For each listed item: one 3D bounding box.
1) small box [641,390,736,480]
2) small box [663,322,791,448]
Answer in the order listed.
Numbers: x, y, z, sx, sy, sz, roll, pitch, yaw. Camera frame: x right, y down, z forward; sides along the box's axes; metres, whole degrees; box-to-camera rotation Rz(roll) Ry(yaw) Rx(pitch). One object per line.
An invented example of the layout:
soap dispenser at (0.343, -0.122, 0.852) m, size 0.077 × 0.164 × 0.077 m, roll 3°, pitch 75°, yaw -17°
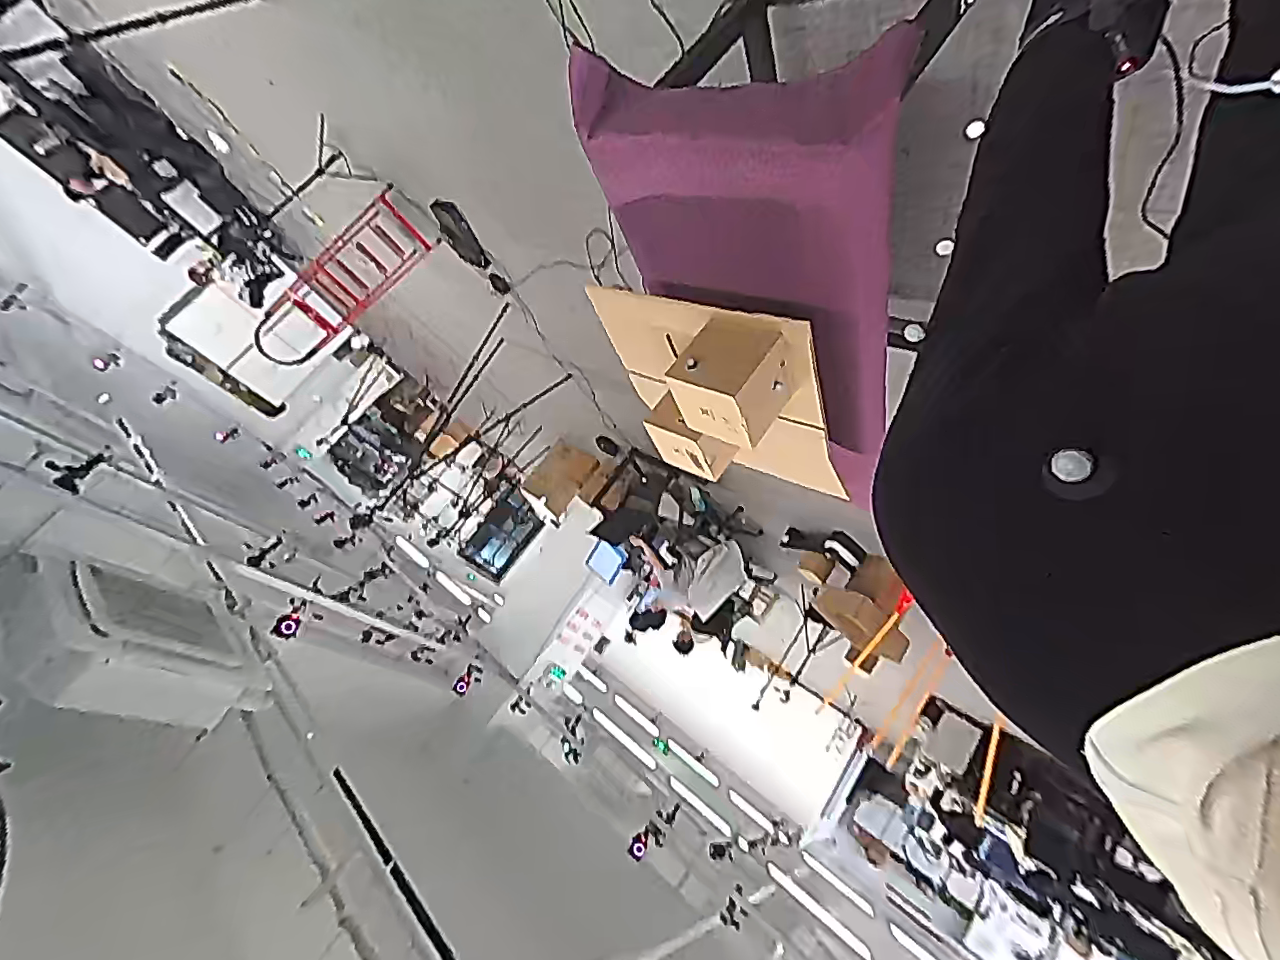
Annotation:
small box at (0.139, -0.134, 1.354) m, size 0.179 × 0.176 × 0.168 m, roll 26°, pitch 159°, yaw 37°
small box at (0.180, -0.198, 1.100) m, size 0.179 × 0.176 × 0.168 m, roll 25°, pitch 159°, yaw 36°
